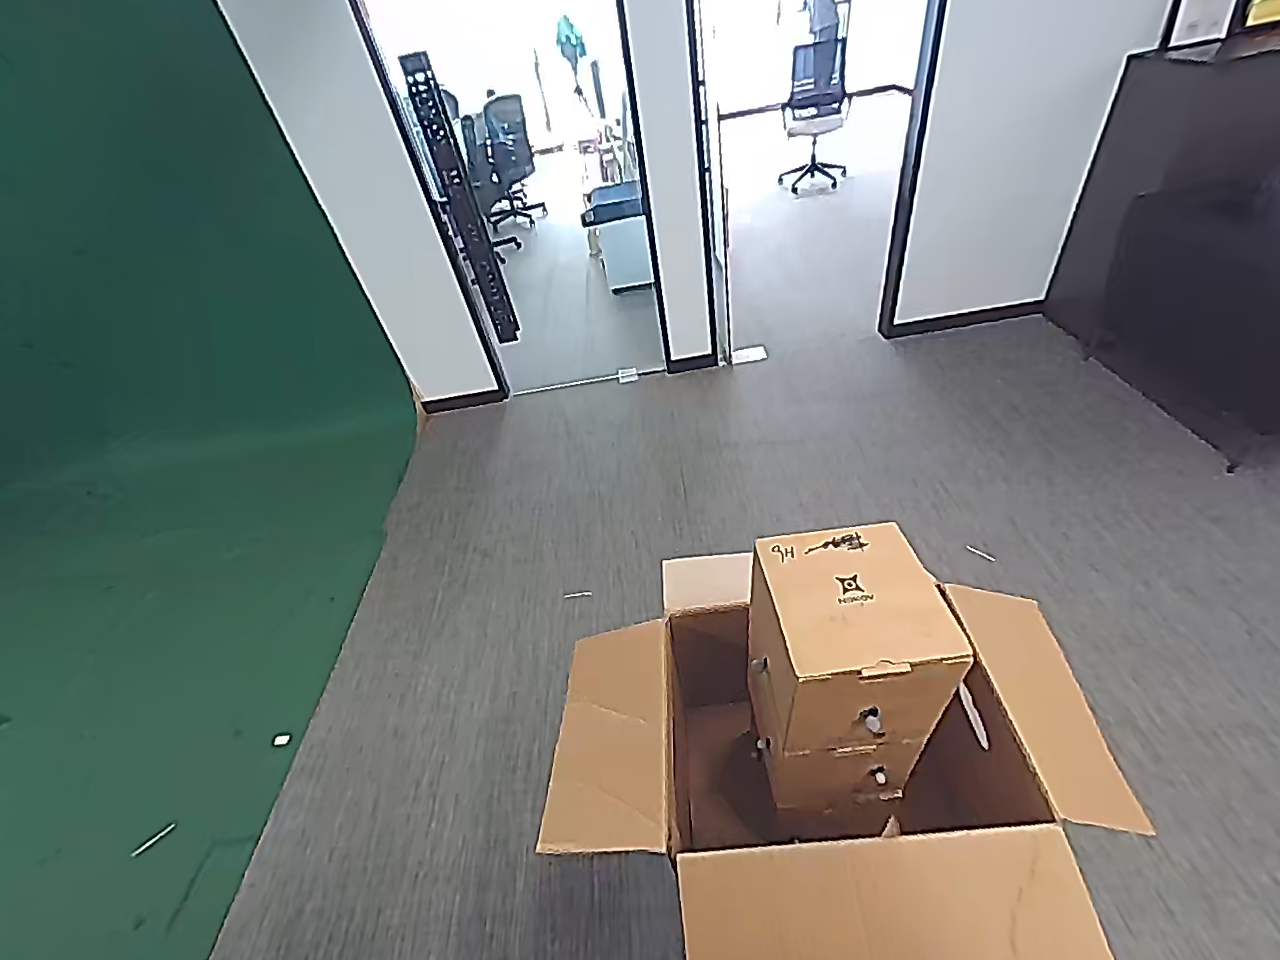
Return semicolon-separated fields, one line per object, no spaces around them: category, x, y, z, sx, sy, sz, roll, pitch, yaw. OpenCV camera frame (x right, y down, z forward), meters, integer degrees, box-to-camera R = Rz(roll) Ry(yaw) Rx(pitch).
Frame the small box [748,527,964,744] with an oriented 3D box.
small box;0.222;0.180;0.612;0.168;0.176;0.179;-6;42;1
